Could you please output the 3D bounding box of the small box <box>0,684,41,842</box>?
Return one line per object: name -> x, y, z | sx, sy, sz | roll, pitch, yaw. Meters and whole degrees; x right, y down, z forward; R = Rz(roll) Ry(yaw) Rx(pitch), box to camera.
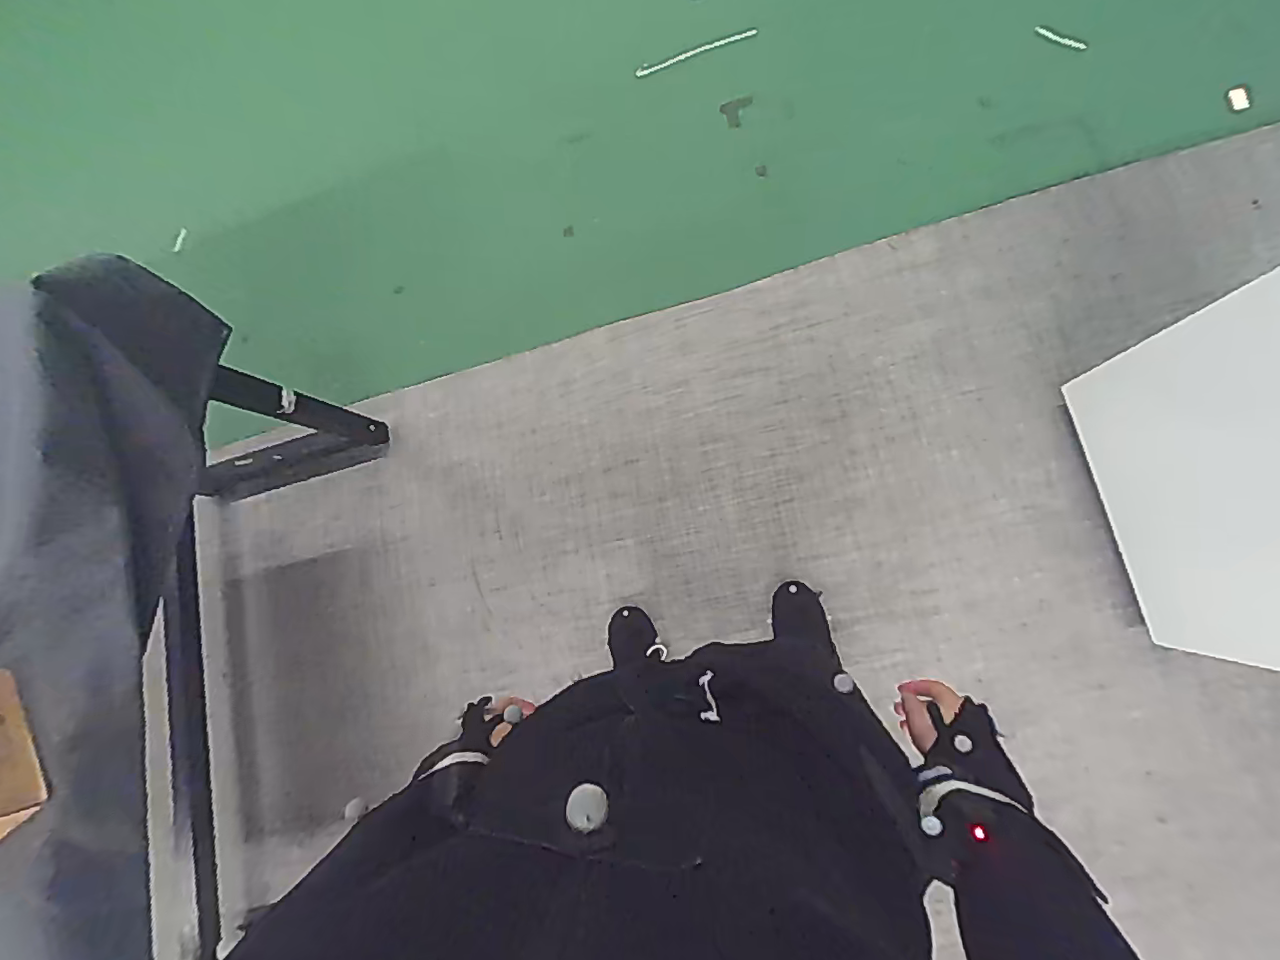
small box -> -0.778, 0.333, 0.540 | 0.179, 0.176, 0.168 | -37, 76, 5
